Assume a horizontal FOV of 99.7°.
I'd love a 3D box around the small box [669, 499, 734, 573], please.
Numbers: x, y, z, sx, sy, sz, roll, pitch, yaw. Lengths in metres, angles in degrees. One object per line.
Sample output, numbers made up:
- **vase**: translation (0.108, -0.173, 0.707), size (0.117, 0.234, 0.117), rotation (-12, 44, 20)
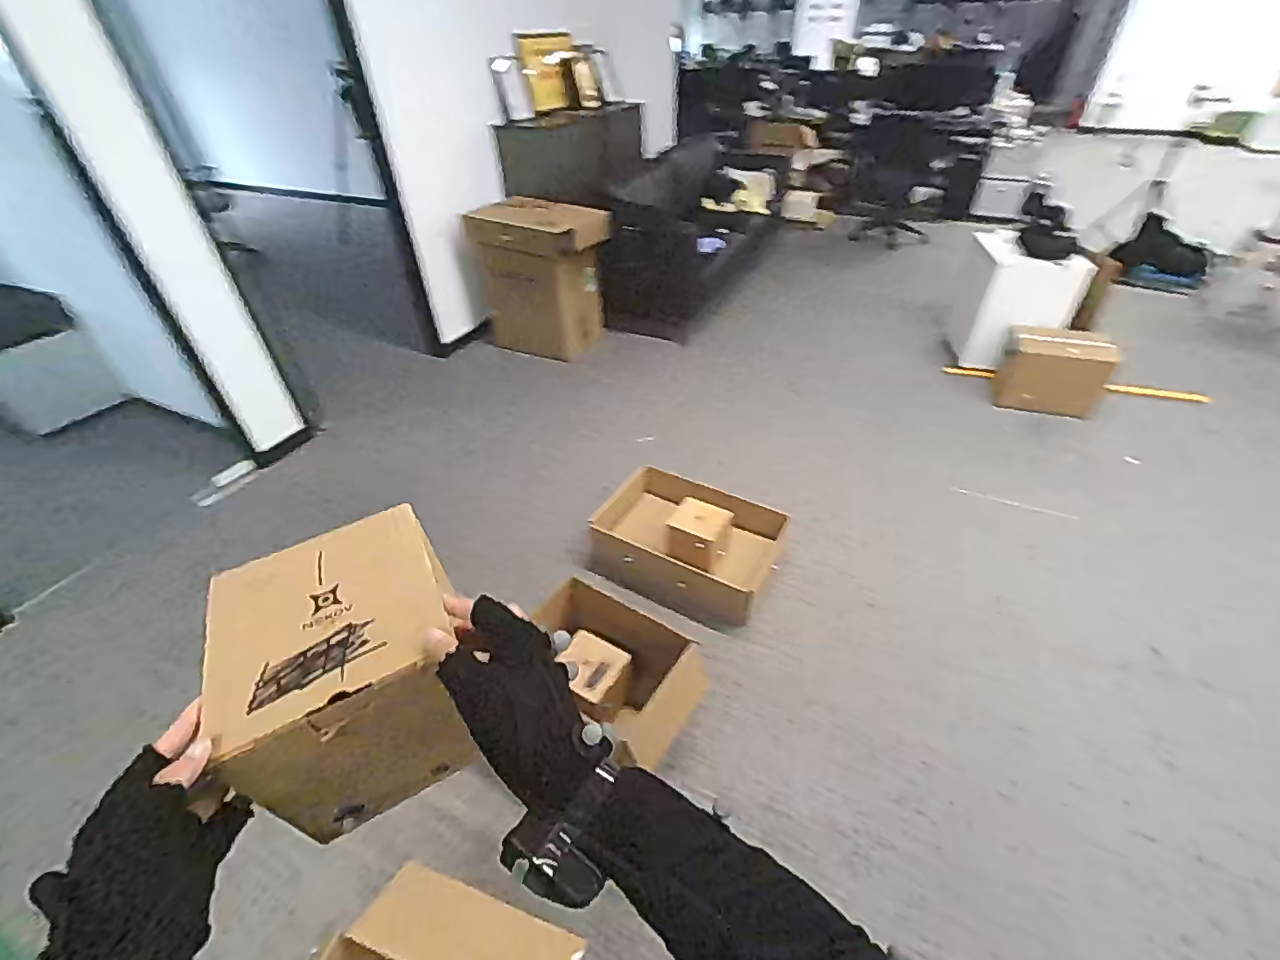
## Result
- **small box**: translation (0.216, 0.200, 1.903), size (0.179, 0.176, 0.168), rotation (19, 43, 25)
